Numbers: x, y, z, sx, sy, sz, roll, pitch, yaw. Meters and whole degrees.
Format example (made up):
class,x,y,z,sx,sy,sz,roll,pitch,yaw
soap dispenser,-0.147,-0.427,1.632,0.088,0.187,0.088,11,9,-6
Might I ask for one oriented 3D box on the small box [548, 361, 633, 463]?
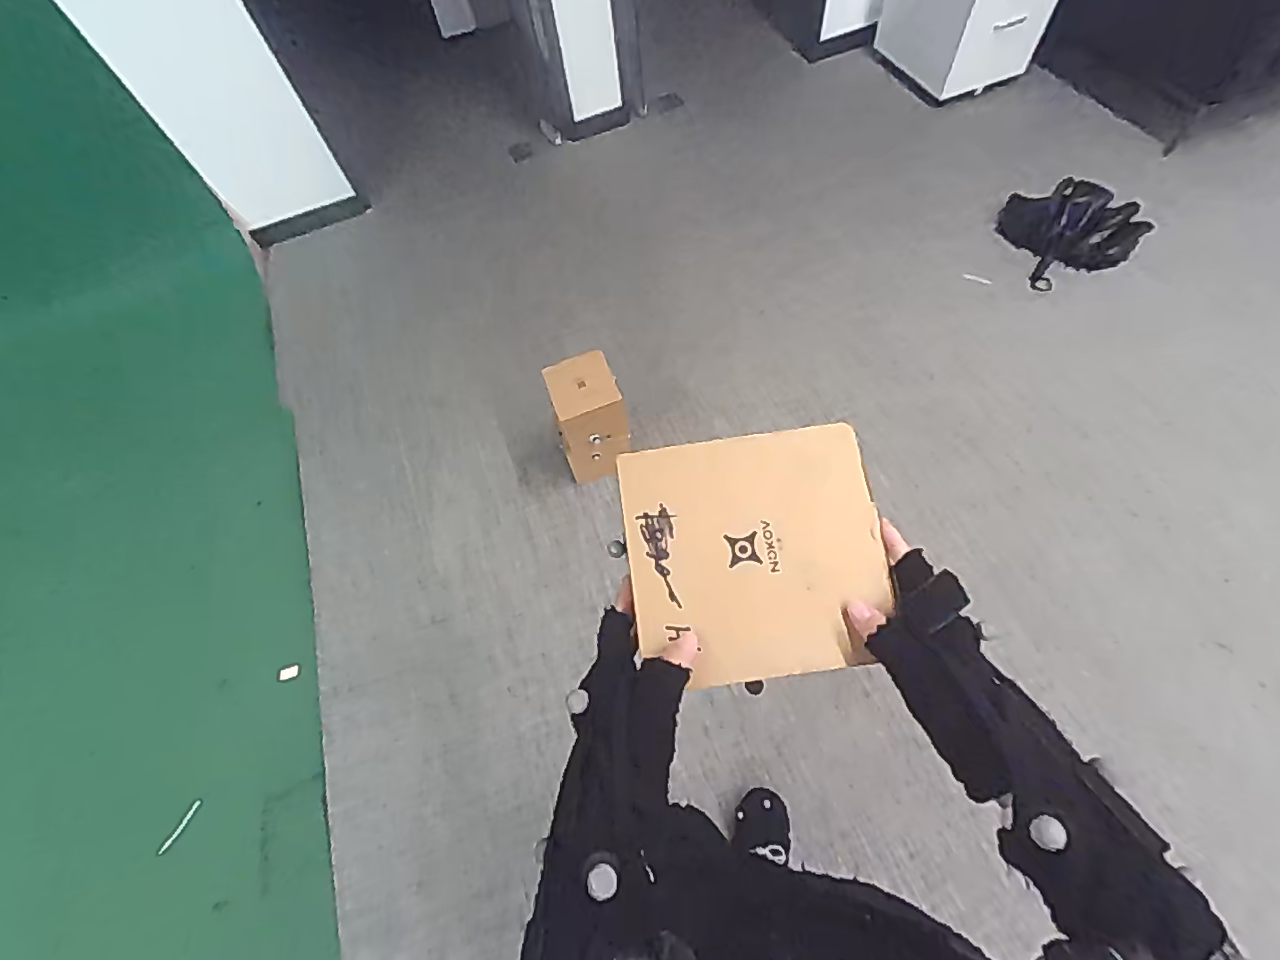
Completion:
class,x,y,z,sx,sy,sz,roll,pitch,yaw
small box,-0.129,-0.177,1.437,0.168,0.176,0.179,-22,62,-4

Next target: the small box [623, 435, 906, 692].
class,x,y,z,sx,sy,sz,roll,pitch,yaw
small box,0.082,0.078,0.453,0.179,0.176,0.168,-7,70,-1

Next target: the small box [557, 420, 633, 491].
class,x,y,z,sx,sy,sz,roll,pitch,yaw
small box,-0.123,-0.091,1.574,0.179,0.176,0.168,-19,61,-5
